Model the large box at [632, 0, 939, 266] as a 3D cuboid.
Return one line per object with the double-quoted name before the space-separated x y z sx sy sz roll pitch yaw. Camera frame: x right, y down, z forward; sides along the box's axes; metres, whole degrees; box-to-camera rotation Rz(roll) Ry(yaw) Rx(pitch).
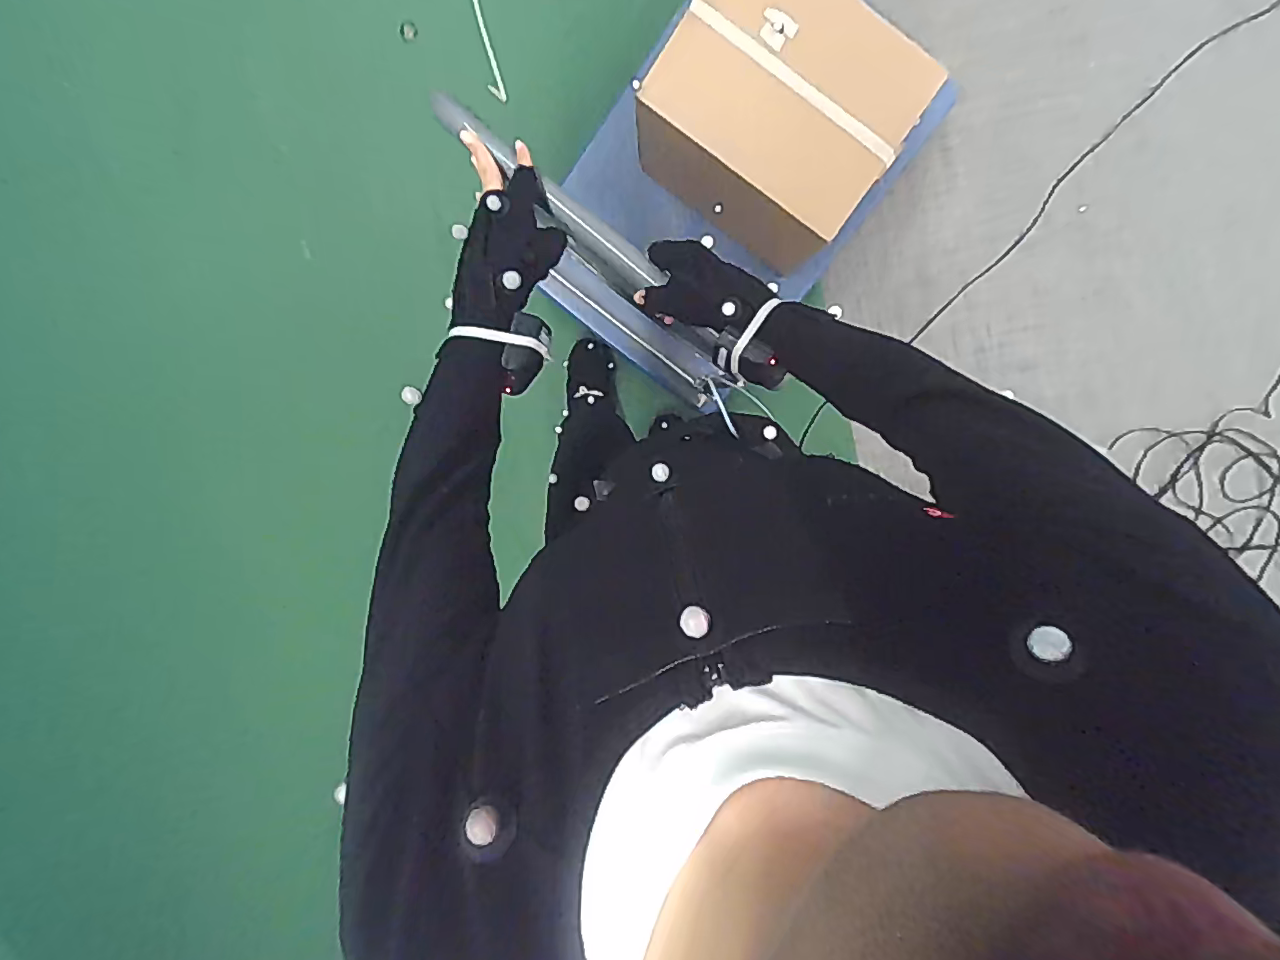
"large box" 0.240 -0.672 1.020 0.408 0.320 0.320 34 99 -5
